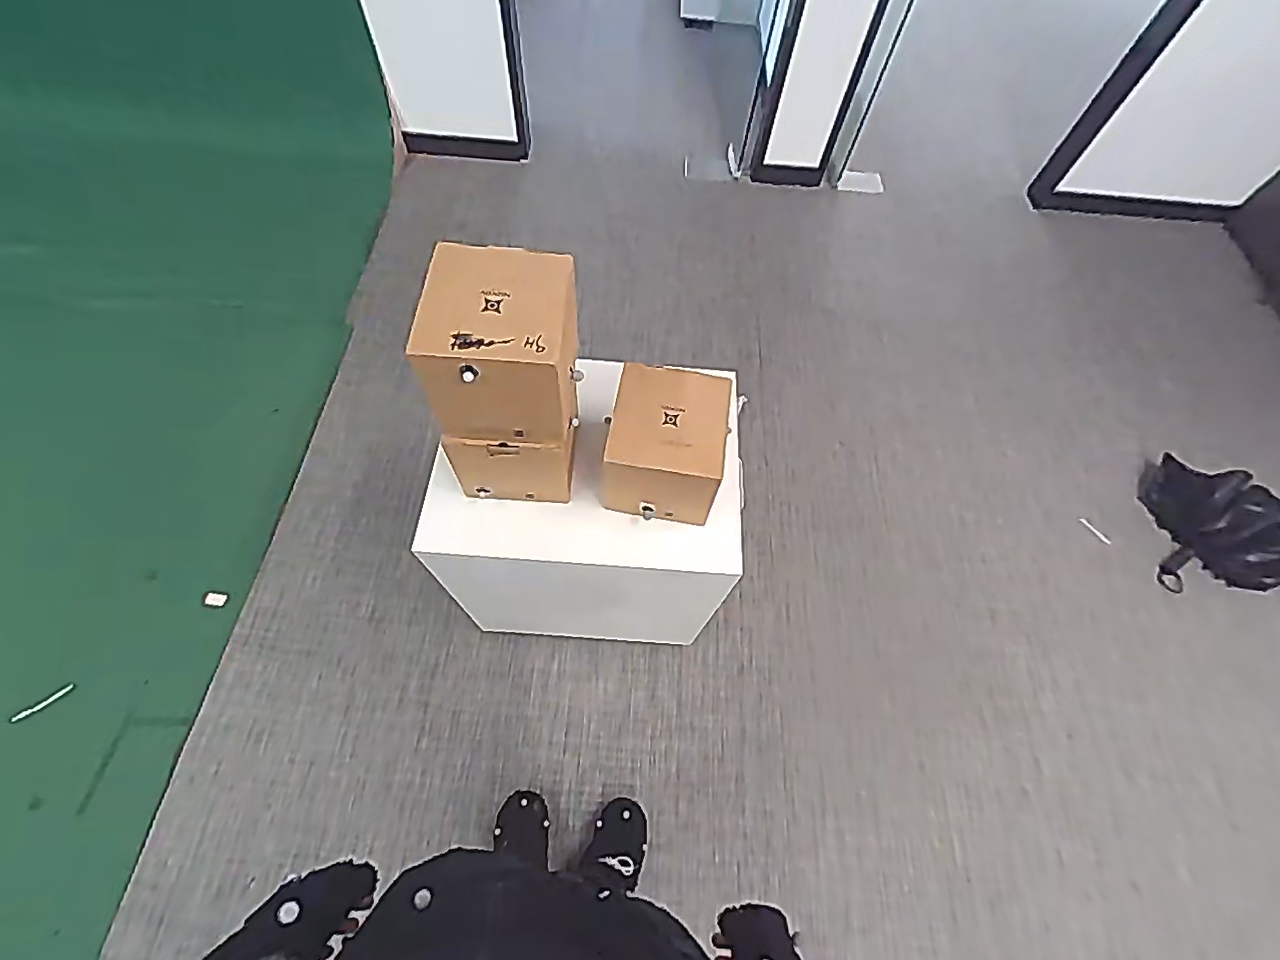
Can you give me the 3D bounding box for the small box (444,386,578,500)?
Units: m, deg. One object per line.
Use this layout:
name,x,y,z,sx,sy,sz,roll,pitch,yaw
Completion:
small box,-0.187,-0.082,0.844,0.168,0.176,0.179,4,61,-2

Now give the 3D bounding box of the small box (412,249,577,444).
small box,-0.173,-0.168,0.706,0.168,0.176,0.179,3,61,-2
